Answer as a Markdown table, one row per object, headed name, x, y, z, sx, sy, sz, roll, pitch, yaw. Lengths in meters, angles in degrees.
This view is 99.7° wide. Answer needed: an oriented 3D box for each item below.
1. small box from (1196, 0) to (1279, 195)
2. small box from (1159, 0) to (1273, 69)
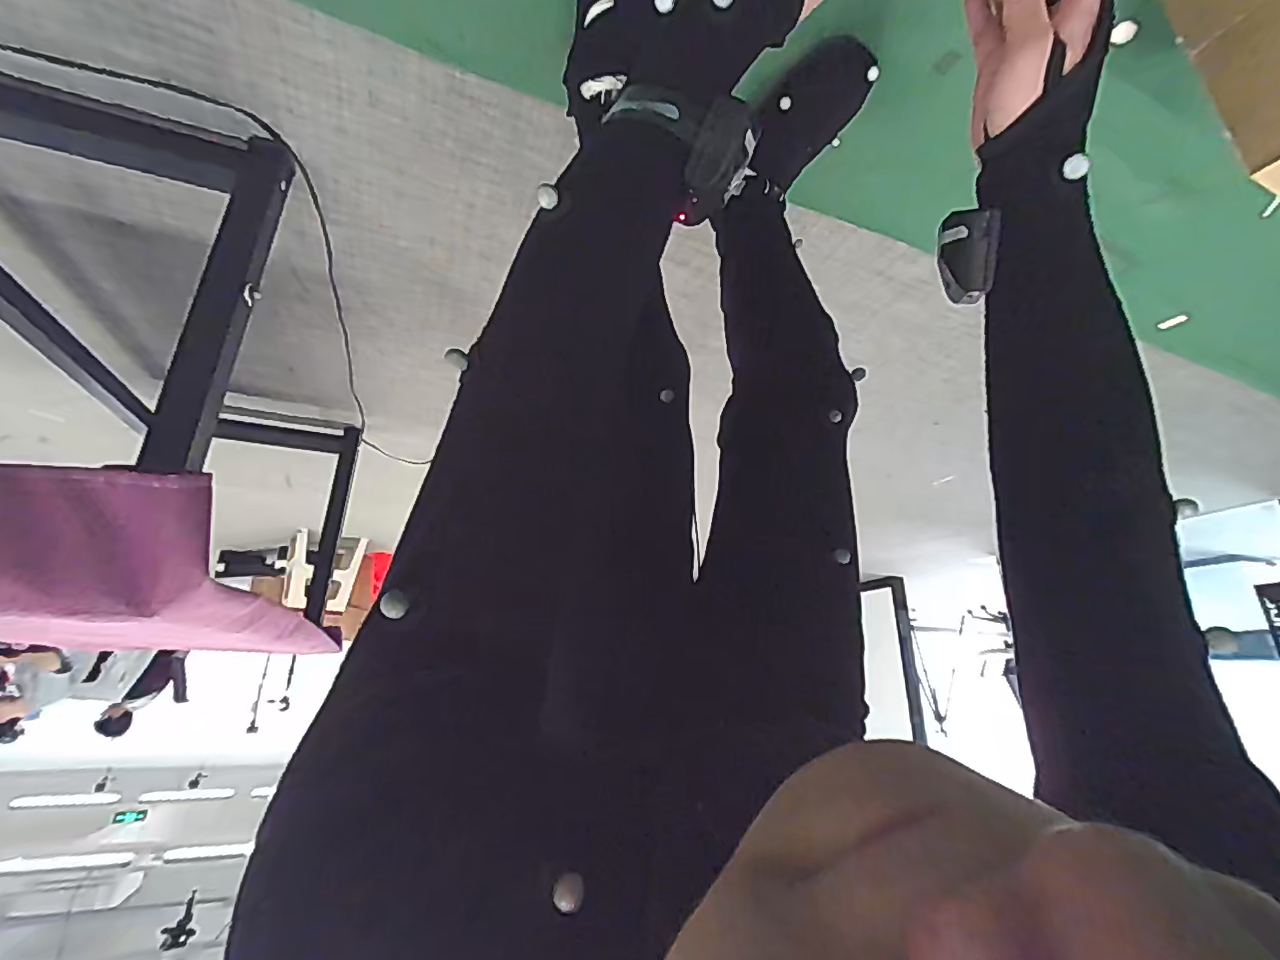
| name | x | y | z | sx | sy | sz | roll | pitch | yaw |
| --- | --- | --- | --- | --- | --- | --- | --- | --- | --- |
| small box | 0.689 | -0.383 | 0.500 | 0.168 | 0.176 | 0.179 | 9 | 158 | -22 |
| small box | 0.688 | -0.536 | 0.558 | 0.168 | 0.176 | 0.179 | 9 | 158 | -23 |
